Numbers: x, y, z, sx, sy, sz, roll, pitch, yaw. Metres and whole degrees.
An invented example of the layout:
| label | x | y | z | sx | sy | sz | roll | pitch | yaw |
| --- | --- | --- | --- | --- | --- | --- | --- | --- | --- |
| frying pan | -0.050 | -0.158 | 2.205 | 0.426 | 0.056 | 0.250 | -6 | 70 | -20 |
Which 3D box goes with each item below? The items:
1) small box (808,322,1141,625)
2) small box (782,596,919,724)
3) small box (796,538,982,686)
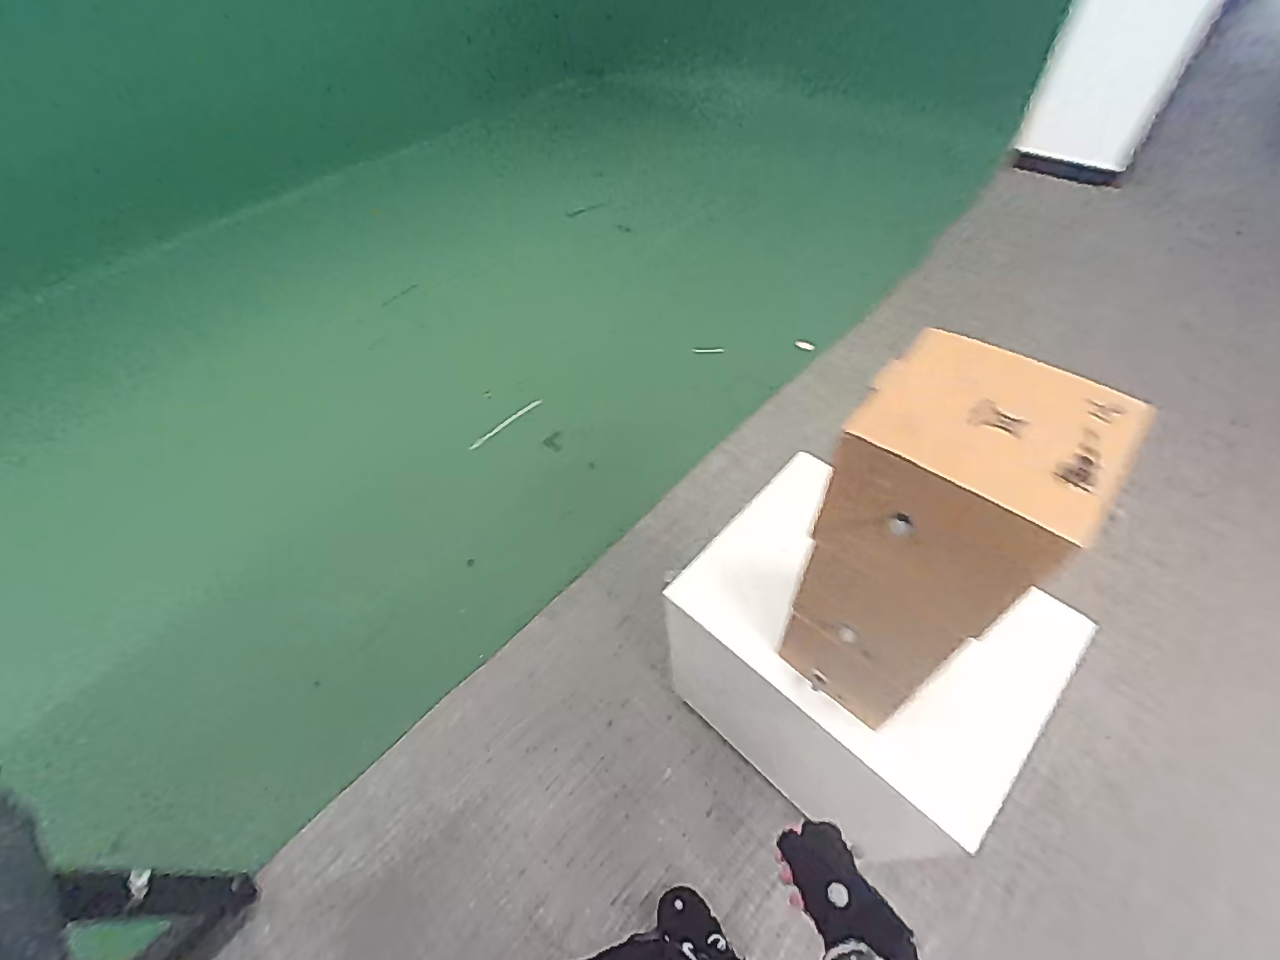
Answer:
| label | x | y | z | sx | sy | sz | roll | pitch | yaw |
| --- | --- | --- | --- | --- | --- | --- | --- | --- | --- |
| small box | 0.270 | -0.004 | 0.478 | 0.179 | 0.176 | 0.168 | 32 | 63 | 28 |
| small box | 0.309 | 0.195 | 0.736 | 0.168 | 0.176 | 0.179 | 33 | 64 | 28 |
| small box | 0.295 | 0.093 | 0.609 | 0.168 | 0.176 | 0.179 | 32 | 61 | 27 |
